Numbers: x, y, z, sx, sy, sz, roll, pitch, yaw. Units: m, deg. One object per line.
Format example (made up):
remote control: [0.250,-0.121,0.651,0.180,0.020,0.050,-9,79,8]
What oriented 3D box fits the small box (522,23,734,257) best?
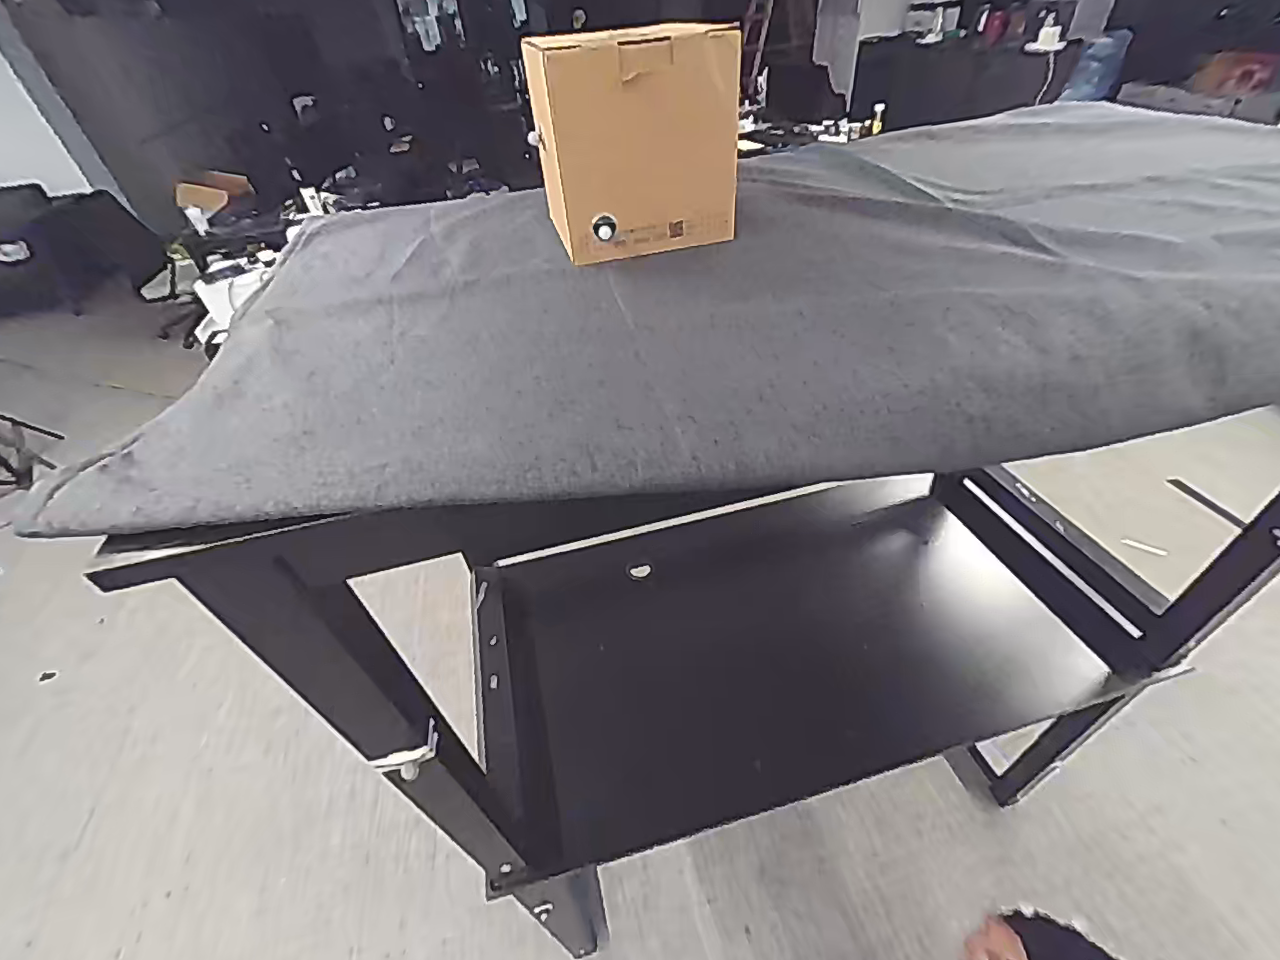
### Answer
small box: [-0.012,-0.336,0.541,0.168,0.176,0.179,-13,41,-8]
